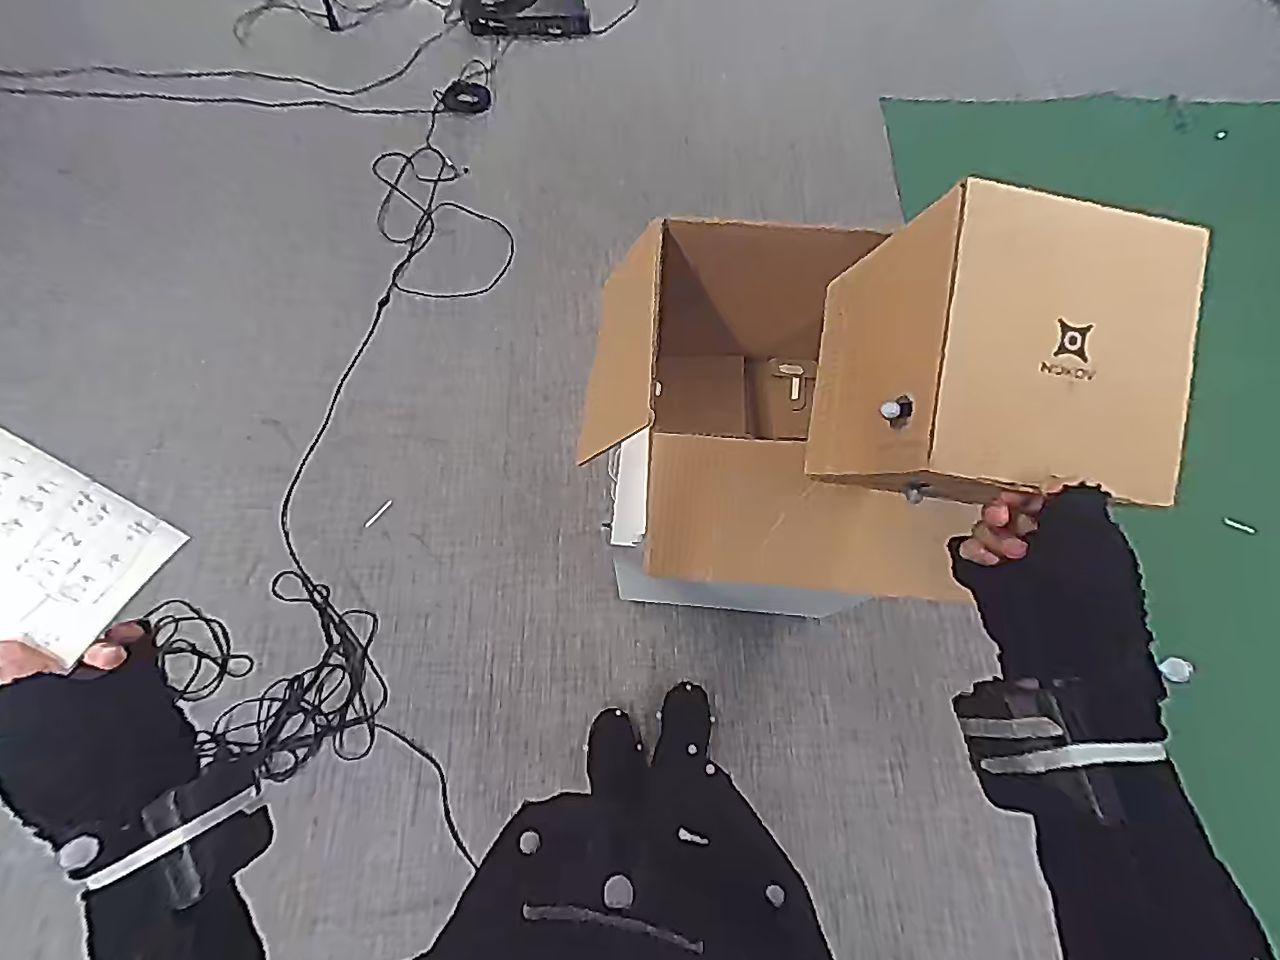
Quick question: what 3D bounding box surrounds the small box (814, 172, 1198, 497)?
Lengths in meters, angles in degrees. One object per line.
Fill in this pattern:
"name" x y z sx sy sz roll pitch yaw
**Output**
"small box" 0.248 -0.085 0.405 0.168 0.176 0.179 7 89 -8
